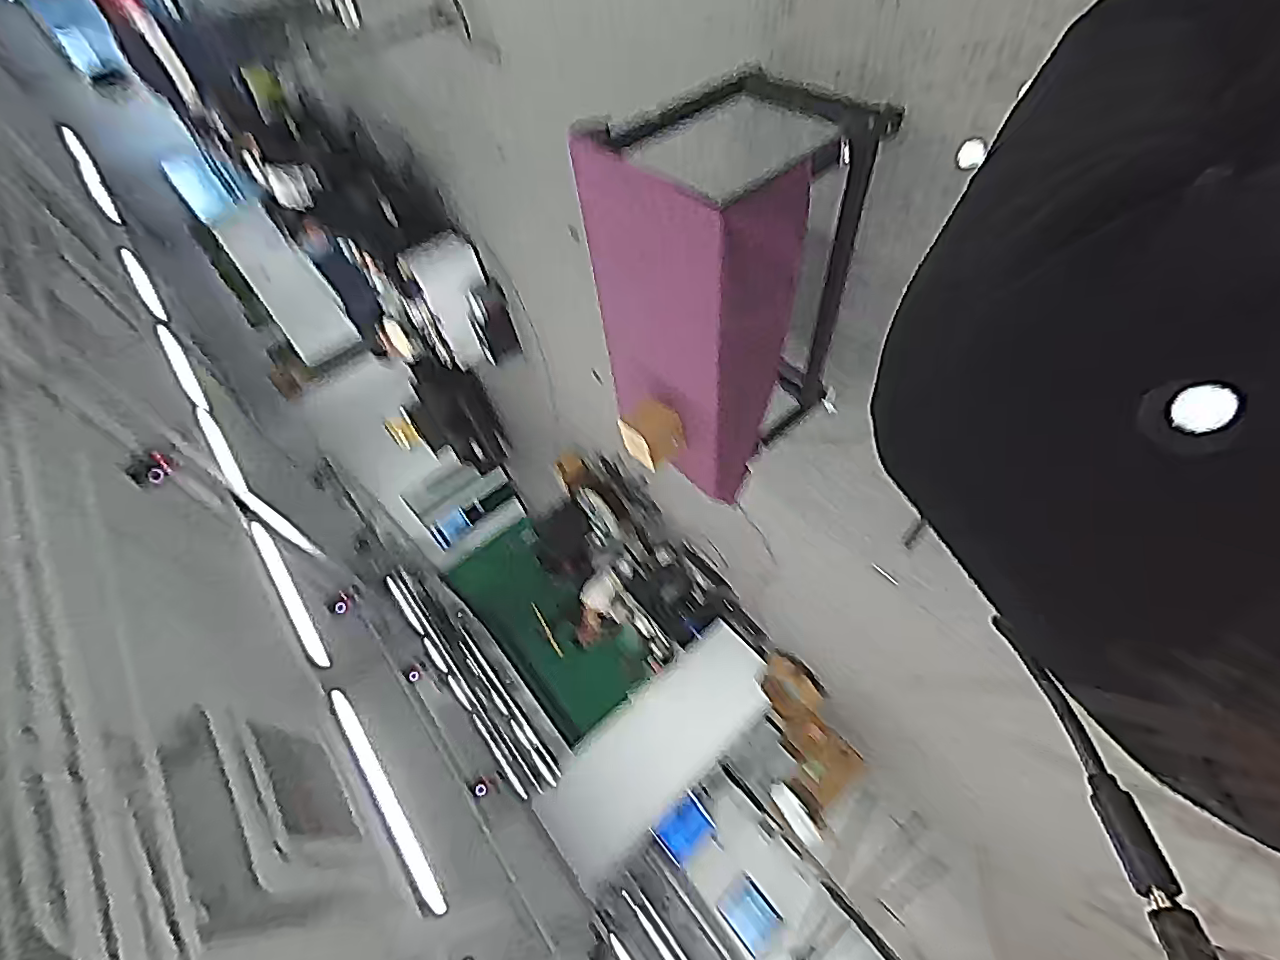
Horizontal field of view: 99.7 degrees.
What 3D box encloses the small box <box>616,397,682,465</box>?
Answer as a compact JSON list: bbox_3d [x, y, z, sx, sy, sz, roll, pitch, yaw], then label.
[{"bbox_3d":[0.039,-0.195,2.069,0.179,0.176,0.168,38,157,37],"label":"small box"}]
